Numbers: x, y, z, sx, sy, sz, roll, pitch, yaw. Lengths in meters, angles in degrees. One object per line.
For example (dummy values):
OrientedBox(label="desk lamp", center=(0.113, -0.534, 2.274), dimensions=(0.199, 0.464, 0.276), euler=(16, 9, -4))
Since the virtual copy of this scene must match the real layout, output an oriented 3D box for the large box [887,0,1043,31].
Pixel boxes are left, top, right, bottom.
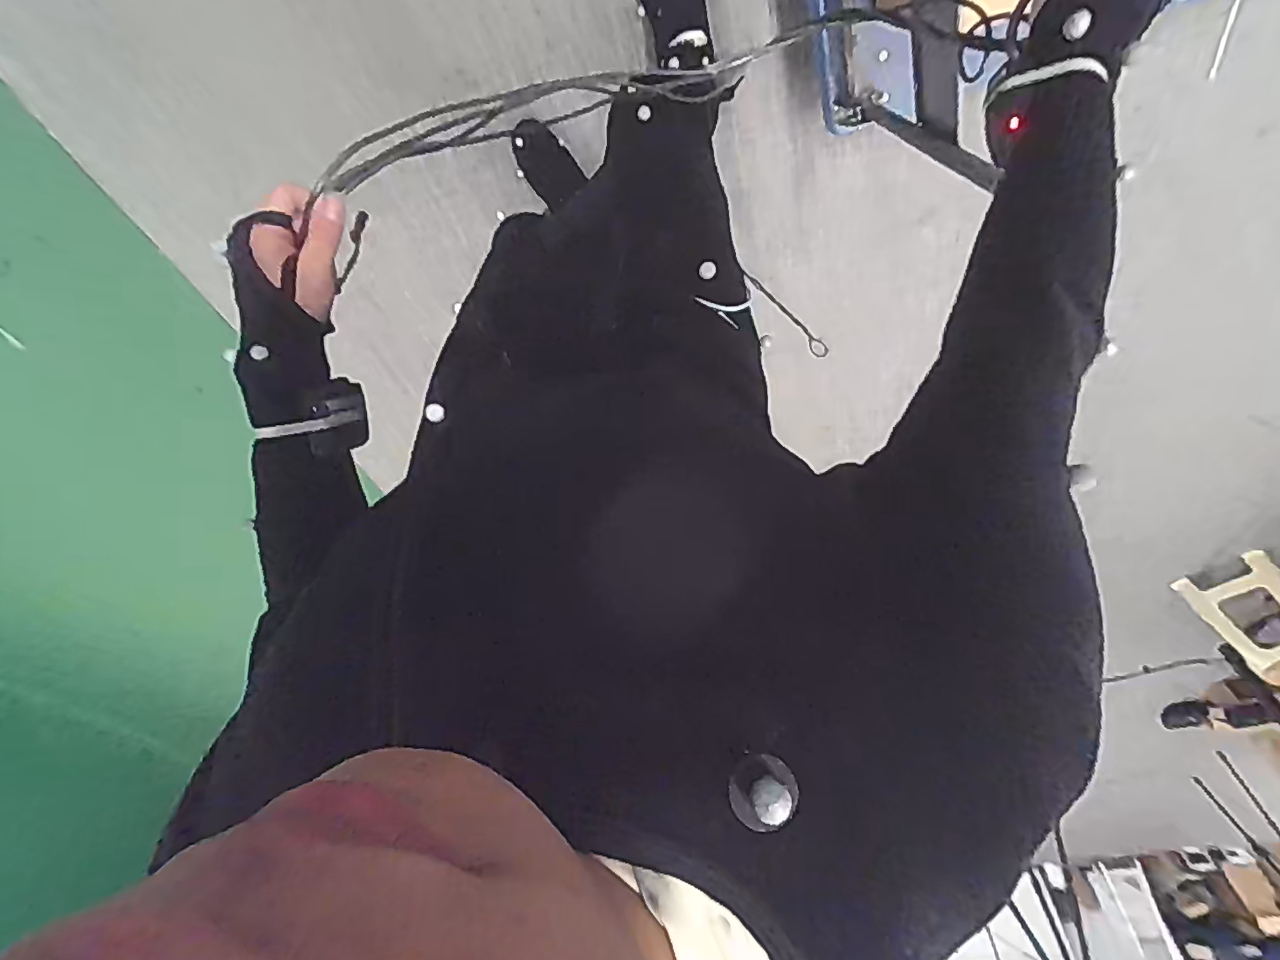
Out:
OrientedBox(label="large box", center=(0.570, -0.872, 0.708), dimensions=(0.408, 0.320, 0.320), euler=(-15, 134, 13))
